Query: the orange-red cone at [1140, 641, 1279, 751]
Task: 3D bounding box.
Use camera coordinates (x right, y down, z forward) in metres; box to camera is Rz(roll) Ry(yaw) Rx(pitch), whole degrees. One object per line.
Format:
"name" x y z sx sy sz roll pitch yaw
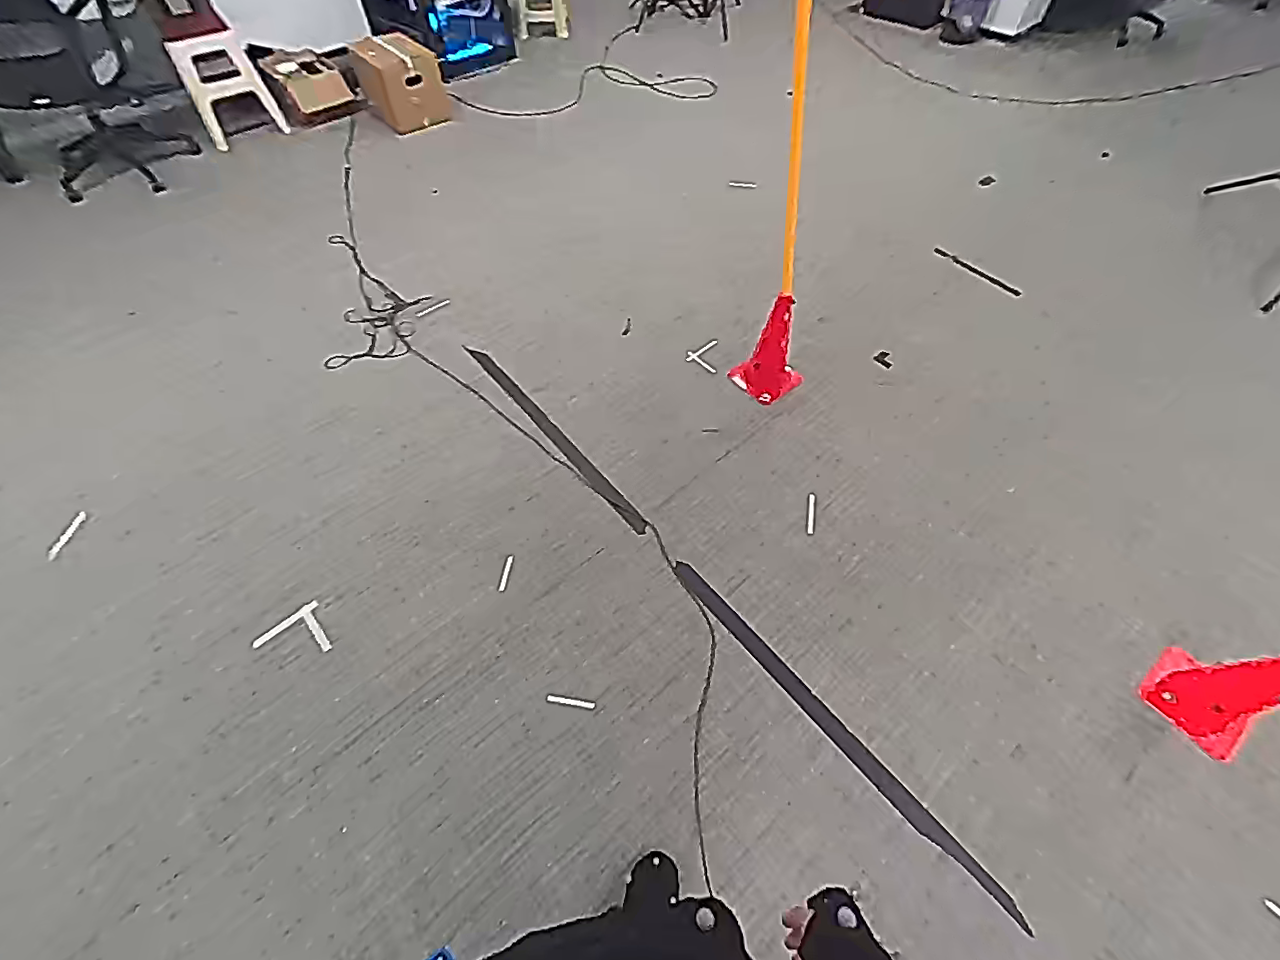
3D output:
"orange-red cone" 1.339 0.419 1.156 0.198 0.360 0.199 -32 62 -19

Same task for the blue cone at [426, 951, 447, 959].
"blue cone" -0.409 0.933 0.856 0.193 0.380 0.192 -32 61 -19
